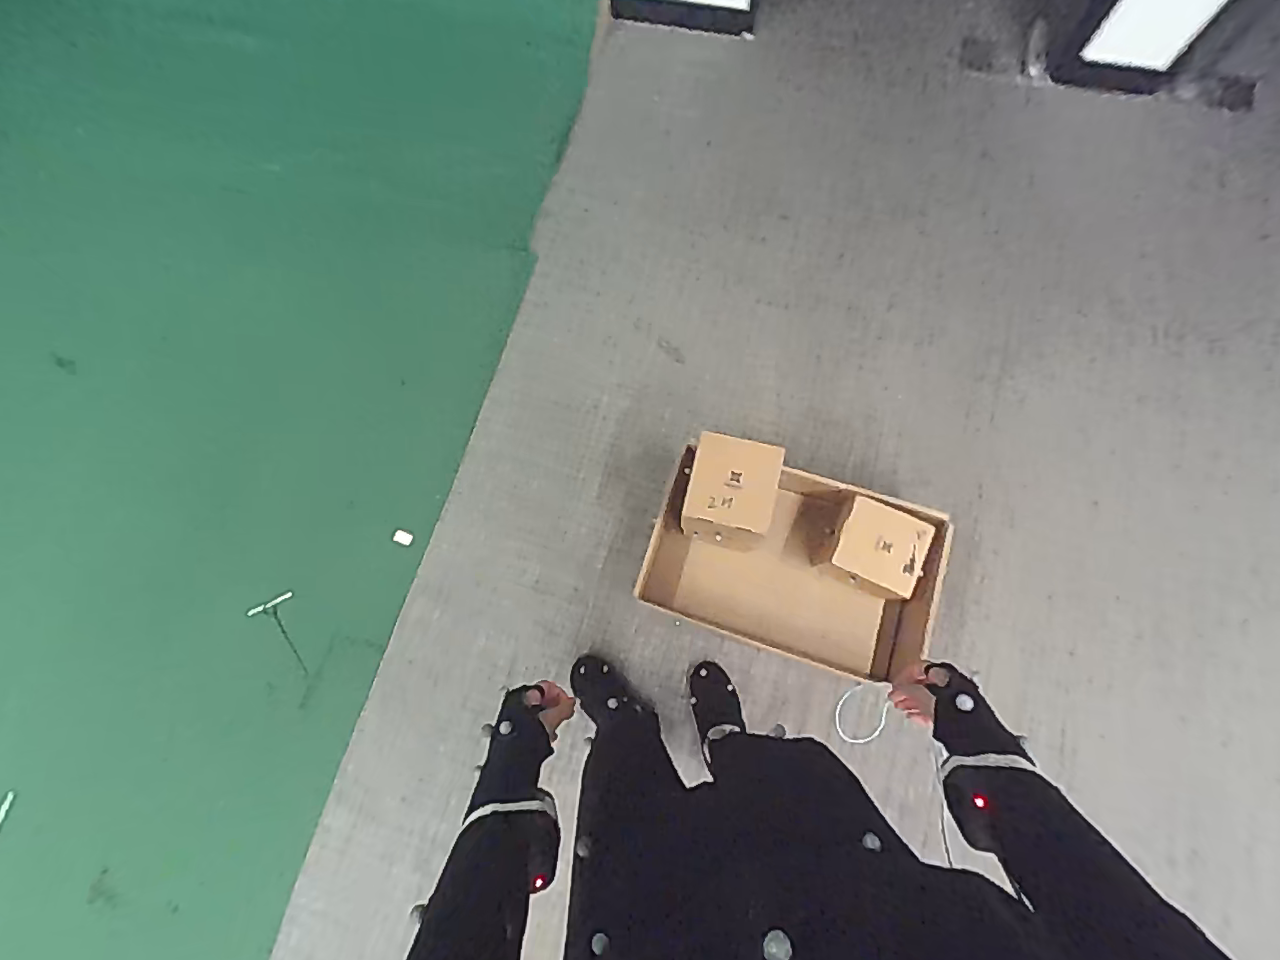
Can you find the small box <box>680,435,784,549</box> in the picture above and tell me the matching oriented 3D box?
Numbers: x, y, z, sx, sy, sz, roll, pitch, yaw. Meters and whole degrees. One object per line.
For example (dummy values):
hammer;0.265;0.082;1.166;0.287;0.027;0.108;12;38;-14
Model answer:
small box;0.181;0.031;1.101;0.168;0.176;0.179;14;78;9
